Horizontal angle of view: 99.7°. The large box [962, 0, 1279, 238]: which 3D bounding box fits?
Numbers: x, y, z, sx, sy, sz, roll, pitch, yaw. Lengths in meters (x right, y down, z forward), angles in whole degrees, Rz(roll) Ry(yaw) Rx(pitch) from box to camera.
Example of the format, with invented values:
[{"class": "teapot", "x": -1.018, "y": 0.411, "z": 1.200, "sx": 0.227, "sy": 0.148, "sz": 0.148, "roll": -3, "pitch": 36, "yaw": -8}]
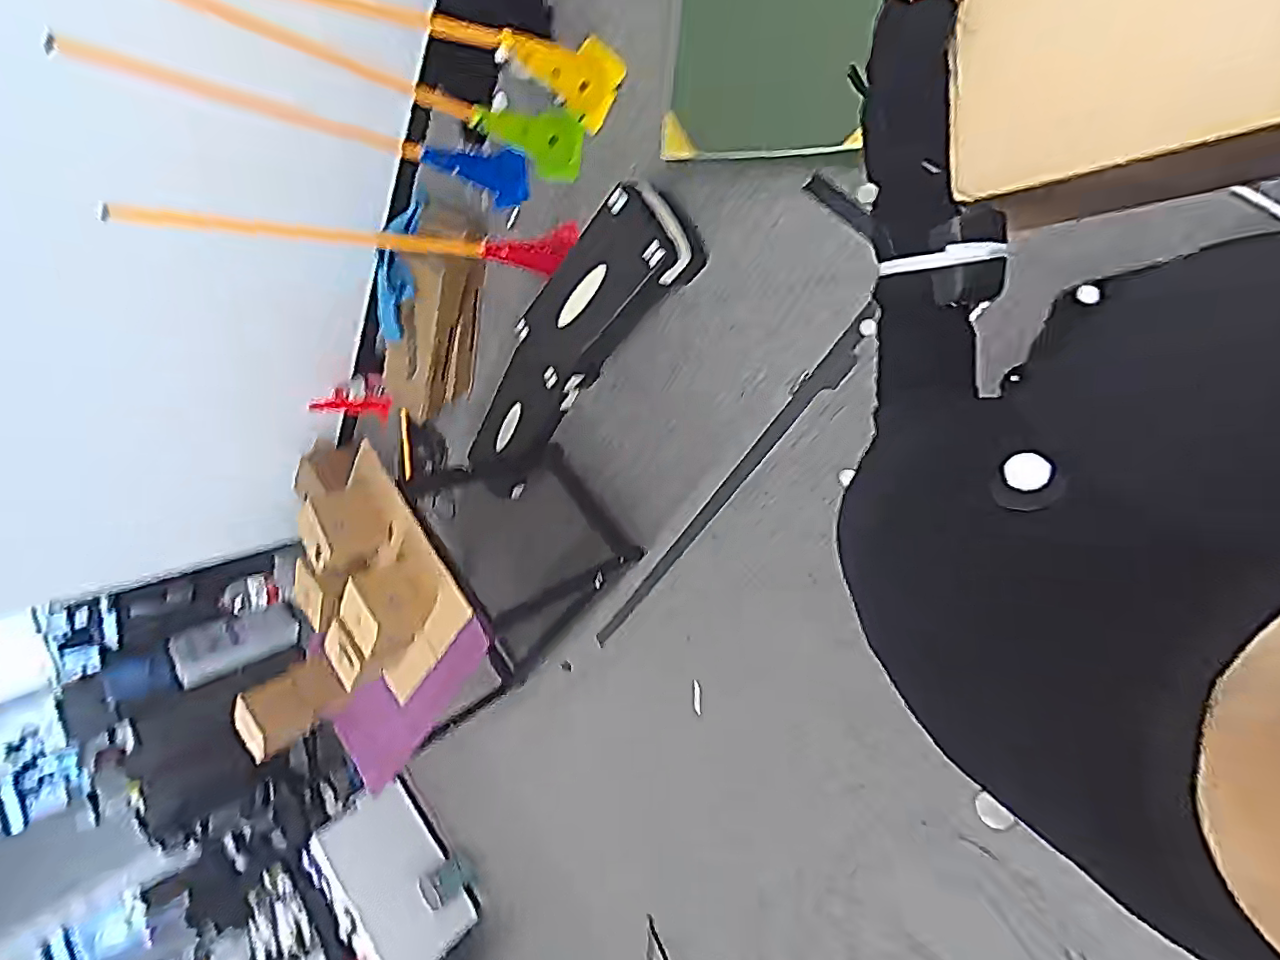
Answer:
[{"class": "large box", "x": 0.471, "y": -0.384, "z": 0.369, "sx": 0.408, "sy": 0.320, "sz": 0.320, "roll": 4, "pitch": 108, "yaw": 38}]
